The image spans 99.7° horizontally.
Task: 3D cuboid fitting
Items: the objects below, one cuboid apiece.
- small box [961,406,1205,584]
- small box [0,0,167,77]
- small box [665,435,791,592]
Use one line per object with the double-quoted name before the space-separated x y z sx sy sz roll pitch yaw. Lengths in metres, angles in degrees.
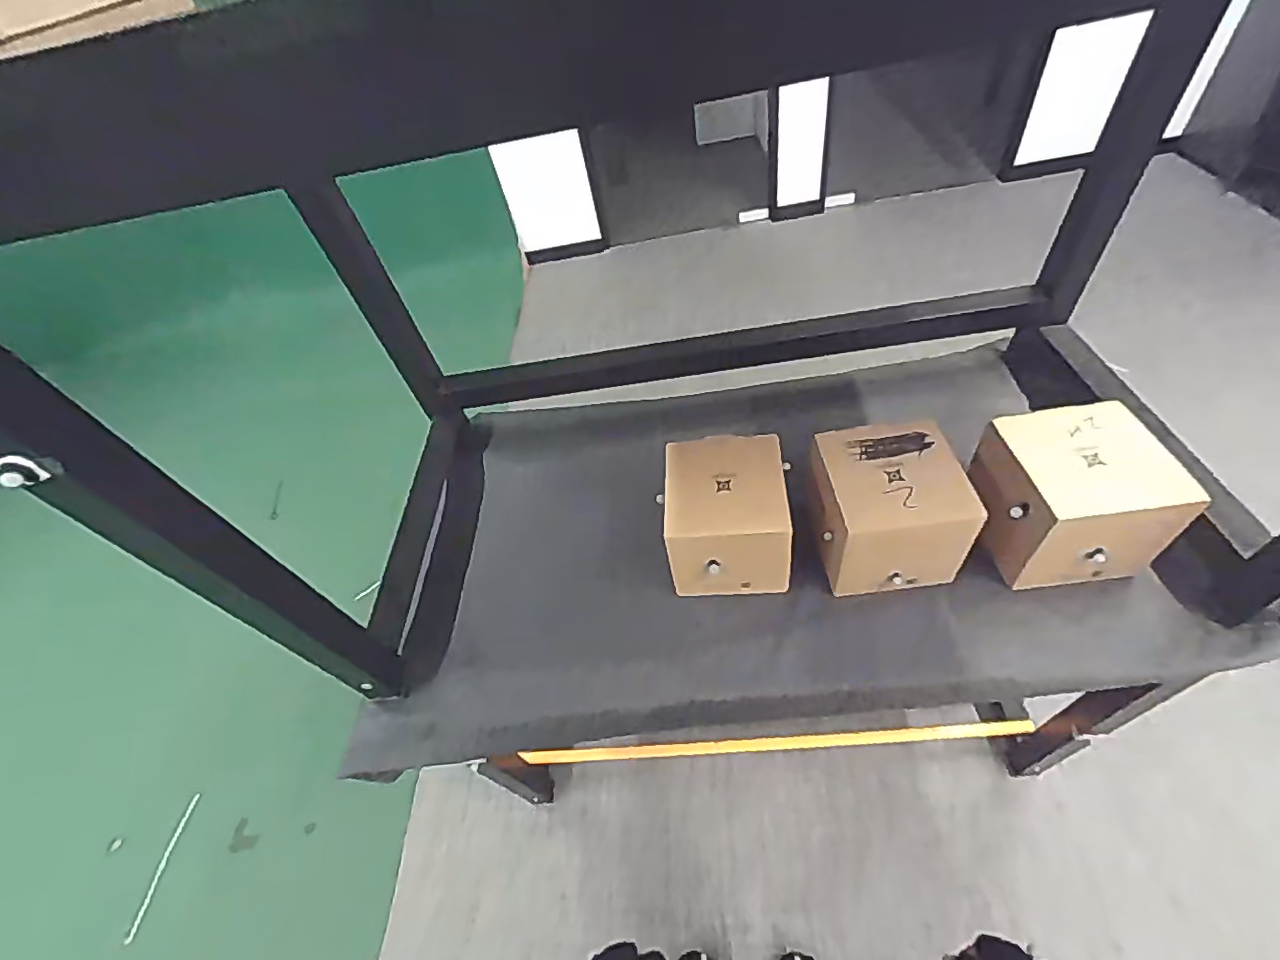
"small box" 0.573 0.028 0.734 0.168 0.176 0.179 -8 48 5
"small box" -0.396 -0.311 0.264 0.168 0.176 0.179 -8 50 5
"small box" 0.132 0.058 0.809 0.168 0.176 0.179 -4 49 9
